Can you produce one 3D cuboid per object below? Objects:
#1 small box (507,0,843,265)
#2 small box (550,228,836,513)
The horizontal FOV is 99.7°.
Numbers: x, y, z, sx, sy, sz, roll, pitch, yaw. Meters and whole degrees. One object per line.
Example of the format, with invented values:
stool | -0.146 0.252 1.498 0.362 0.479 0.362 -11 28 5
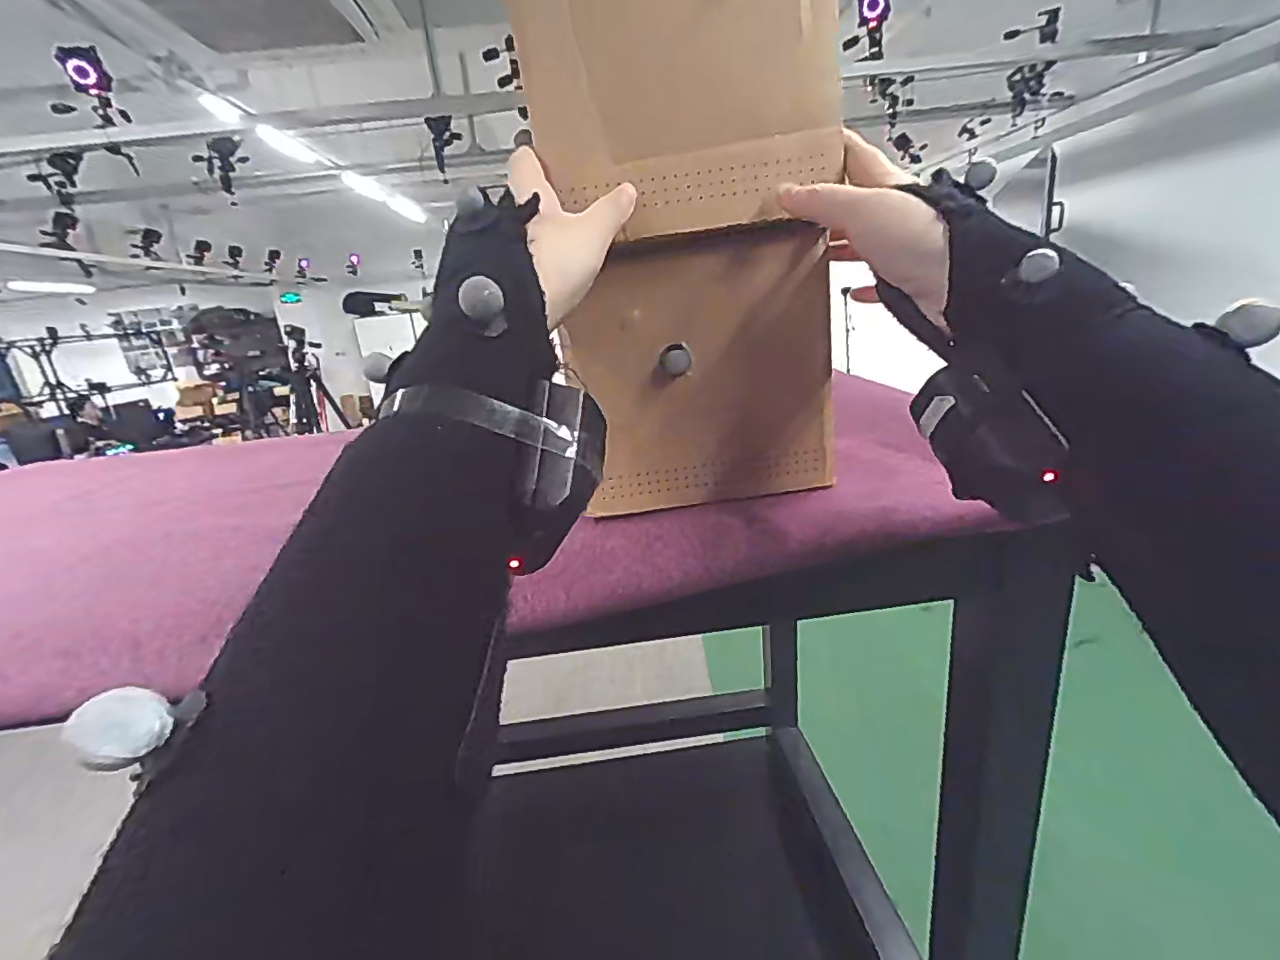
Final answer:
small box | 0.019 -0.232 0.363 0.179 0.176 0.168 -8 15 -2
small box | 0.038 -0.080 0.423 0.179 0.176 0.168 -8 15 -2
